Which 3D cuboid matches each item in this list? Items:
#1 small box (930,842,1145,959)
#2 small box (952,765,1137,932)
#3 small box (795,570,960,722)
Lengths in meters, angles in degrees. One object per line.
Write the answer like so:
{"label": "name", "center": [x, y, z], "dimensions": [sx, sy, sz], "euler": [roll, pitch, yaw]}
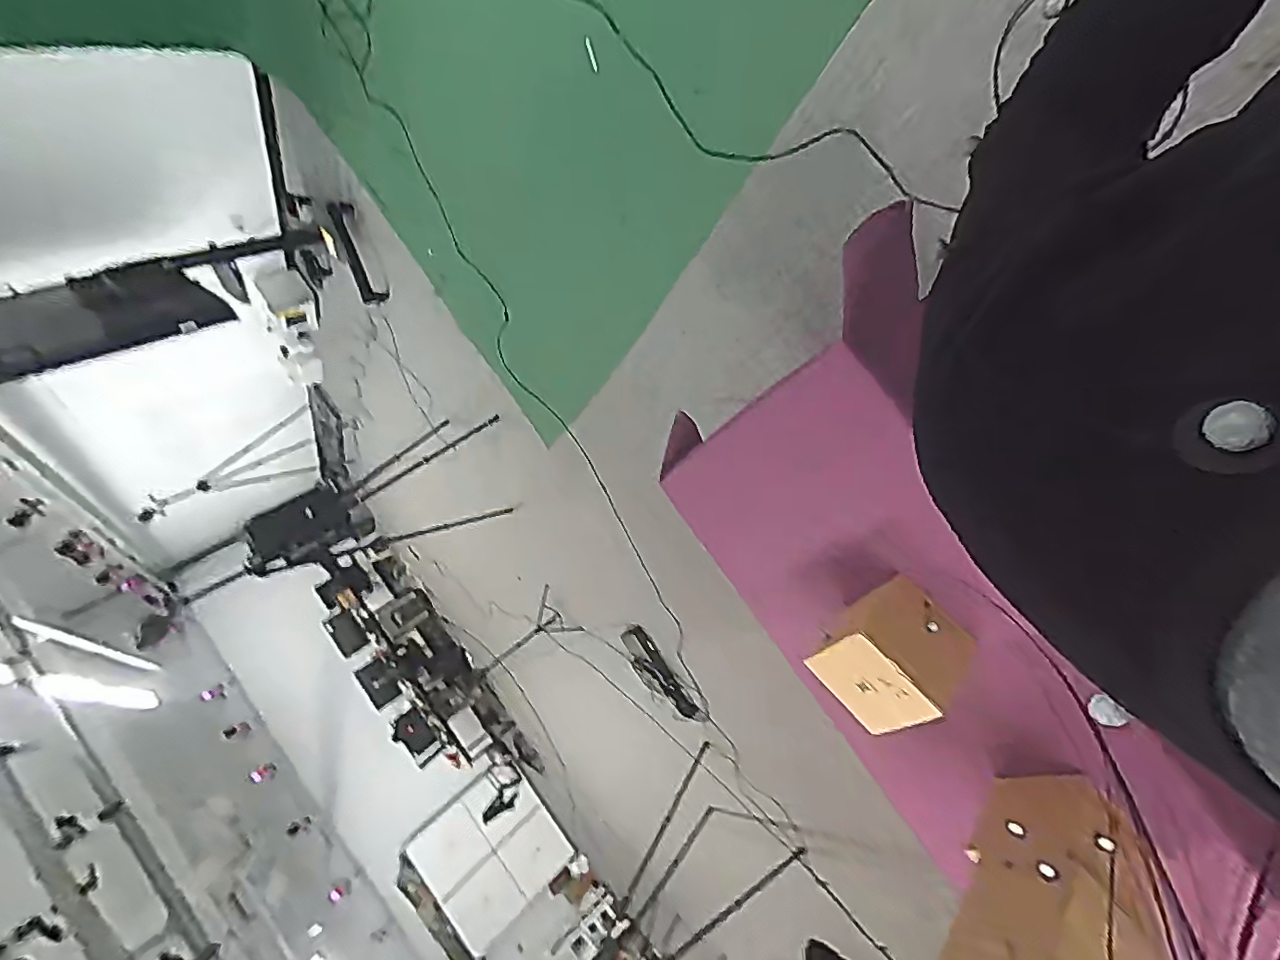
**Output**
{"label": "small box", "center": [0.573, 0.666, 0.784], "dimensions": [0.179, 0.176, 0.168], "euler": [50, 145, 9]}
{"label": "small box", "center": [0.673, 0.600, 0.898], "dimensions": [0.168, 0.176, 0.179], "euler": [51, 146, 9]}
{"label": "small box", "center": [0.418, 0.291, 0.953], "dimensions": [0.168, 0.176, 0.179], "euler": [47, 144, 13]}
